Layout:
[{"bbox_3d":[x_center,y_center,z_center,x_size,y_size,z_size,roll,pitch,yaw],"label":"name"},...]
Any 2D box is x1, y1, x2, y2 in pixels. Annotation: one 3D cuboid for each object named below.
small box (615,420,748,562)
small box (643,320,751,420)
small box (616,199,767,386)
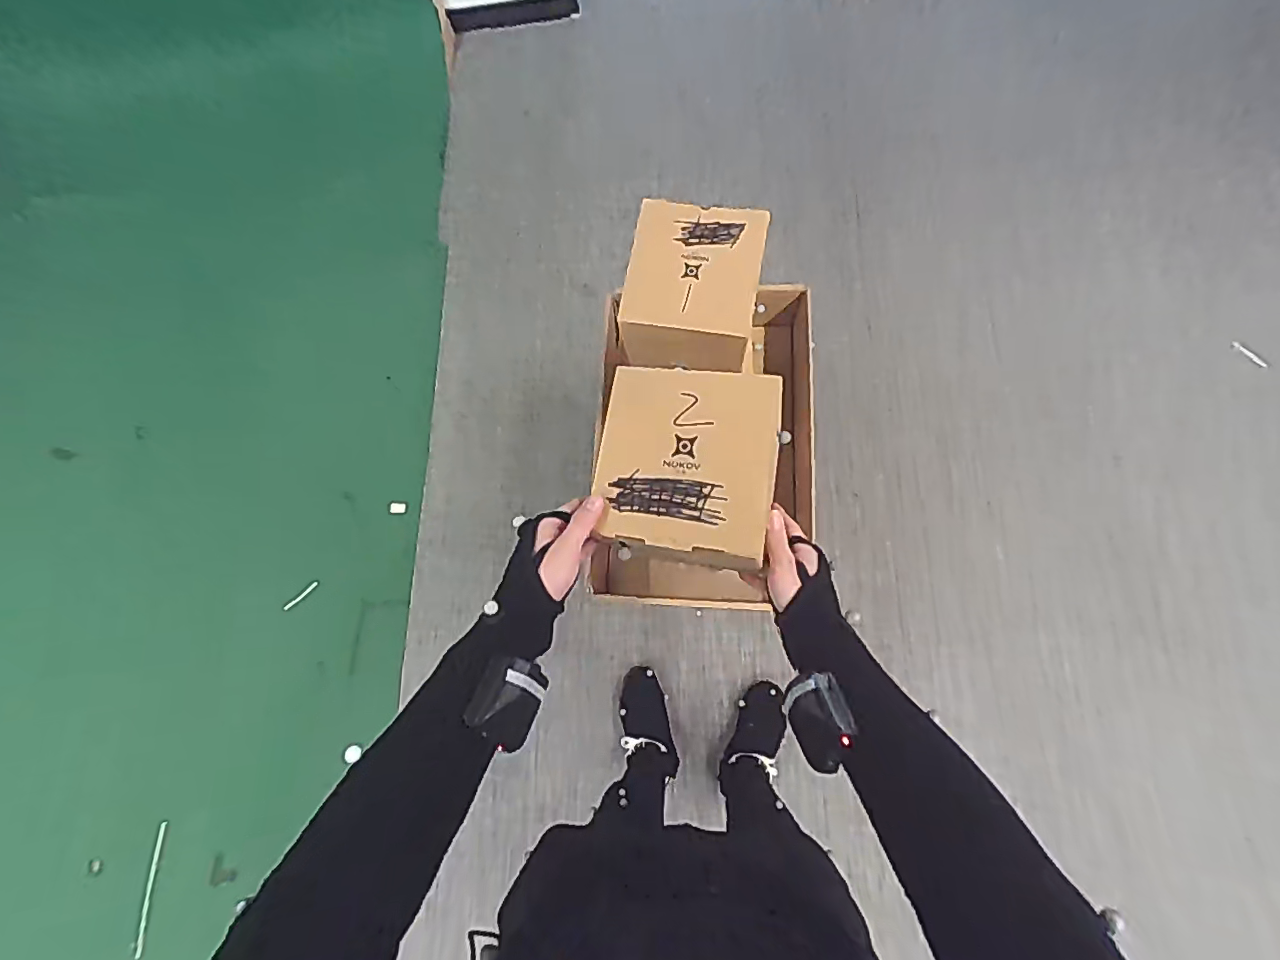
[{"bbox_3d":[0.069,0.026,0.851,0.168,0.176,0.179,10,76,9],"label":"small box"},{"bbox_3d":[0.096,-0.212,0.912,0.168,0.176,0.179,0,78,6],"label":"small box"},{"bbox_3d":[0.073,-0.252,0.754,0.168,0.176,0.179,10,80,9],"label":"small box"}]
